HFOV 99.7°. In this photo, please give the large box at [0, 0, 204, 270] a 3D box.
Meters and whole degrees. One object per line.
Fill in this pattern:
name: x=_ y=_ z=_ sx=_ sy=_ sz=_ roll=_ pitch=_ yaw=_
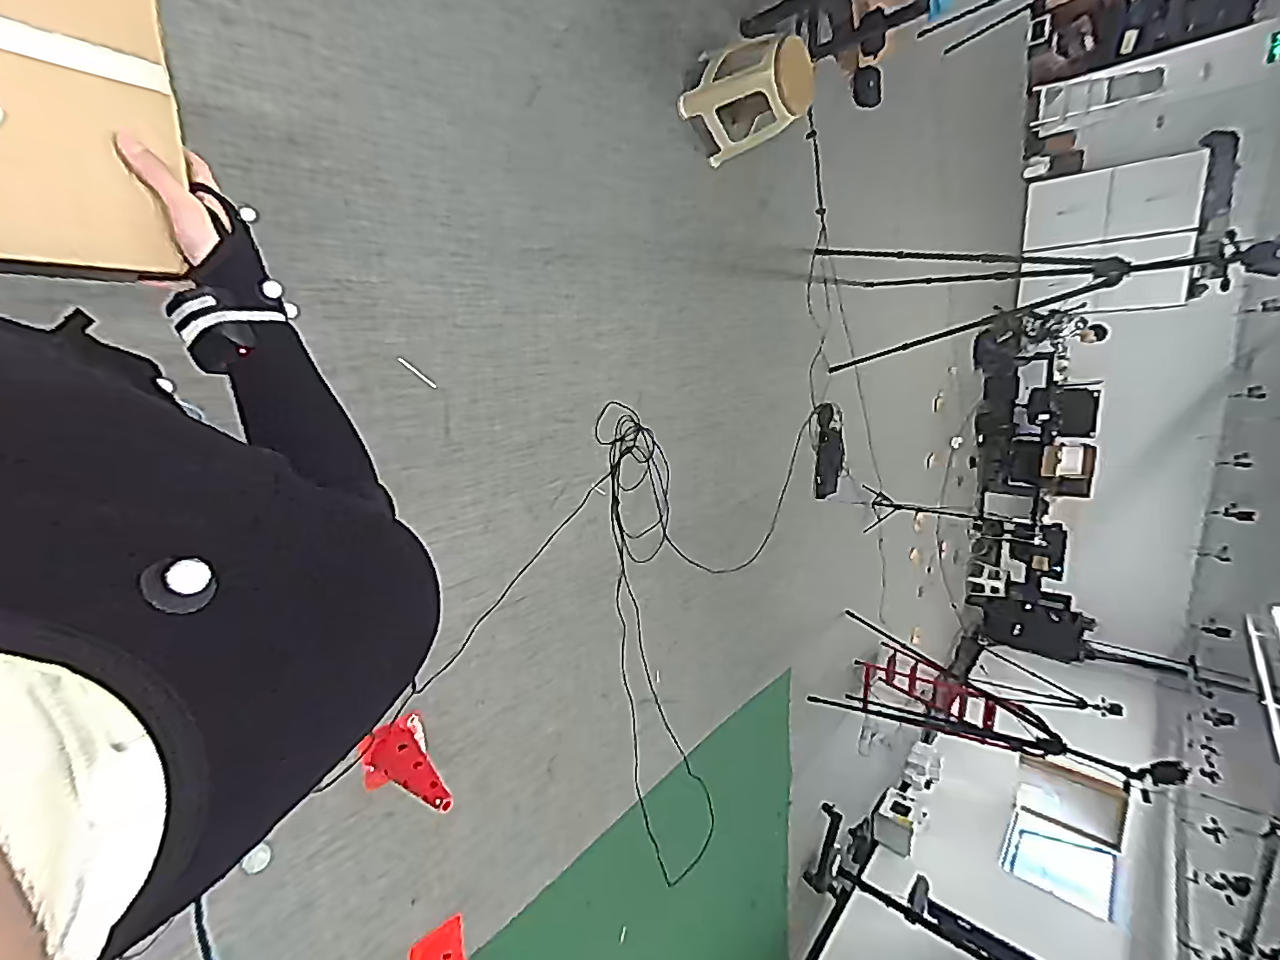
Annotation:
large box: x=-0.655 y=-0.349 z=0.425 sx=0.408 sy=0.320 sz=0.320 roll=-15 pitch=115 yaw=-47
